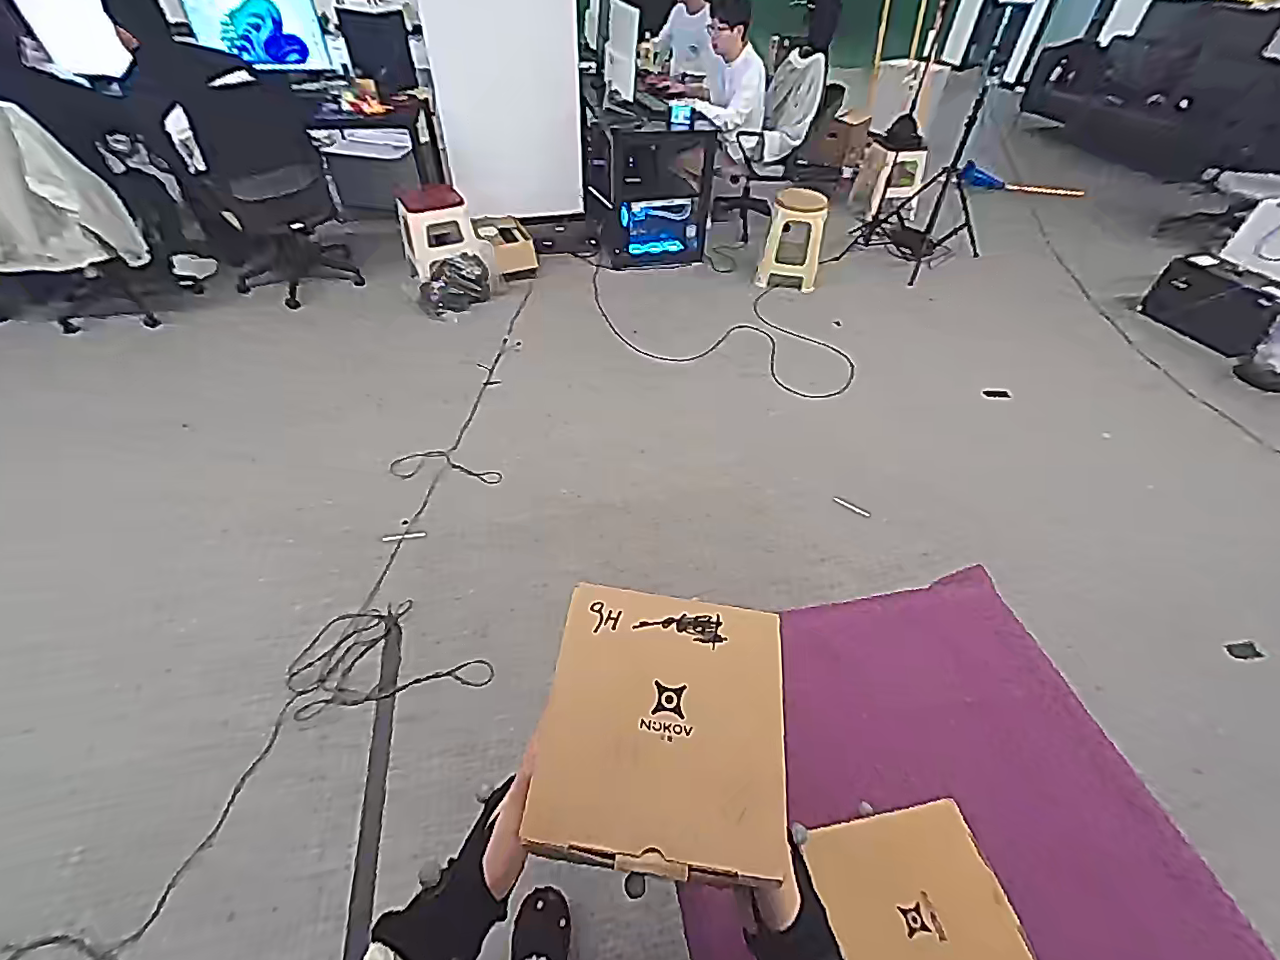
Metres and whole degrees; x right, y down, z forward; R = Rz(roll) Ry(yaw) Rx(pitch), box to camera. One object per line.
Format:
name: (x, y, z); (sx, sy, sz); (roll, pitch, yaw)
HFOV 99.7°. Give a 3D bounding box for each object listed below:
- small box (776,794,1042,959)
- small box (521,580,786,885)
small box: (0.251, 0.445, 0.545); (0.179, 0.176, 0.168); (-6, 47, -10)
small box: (0.012, 0.206, 0.437); (0.168, 0.176, 0.179); (9, 53, -1)
